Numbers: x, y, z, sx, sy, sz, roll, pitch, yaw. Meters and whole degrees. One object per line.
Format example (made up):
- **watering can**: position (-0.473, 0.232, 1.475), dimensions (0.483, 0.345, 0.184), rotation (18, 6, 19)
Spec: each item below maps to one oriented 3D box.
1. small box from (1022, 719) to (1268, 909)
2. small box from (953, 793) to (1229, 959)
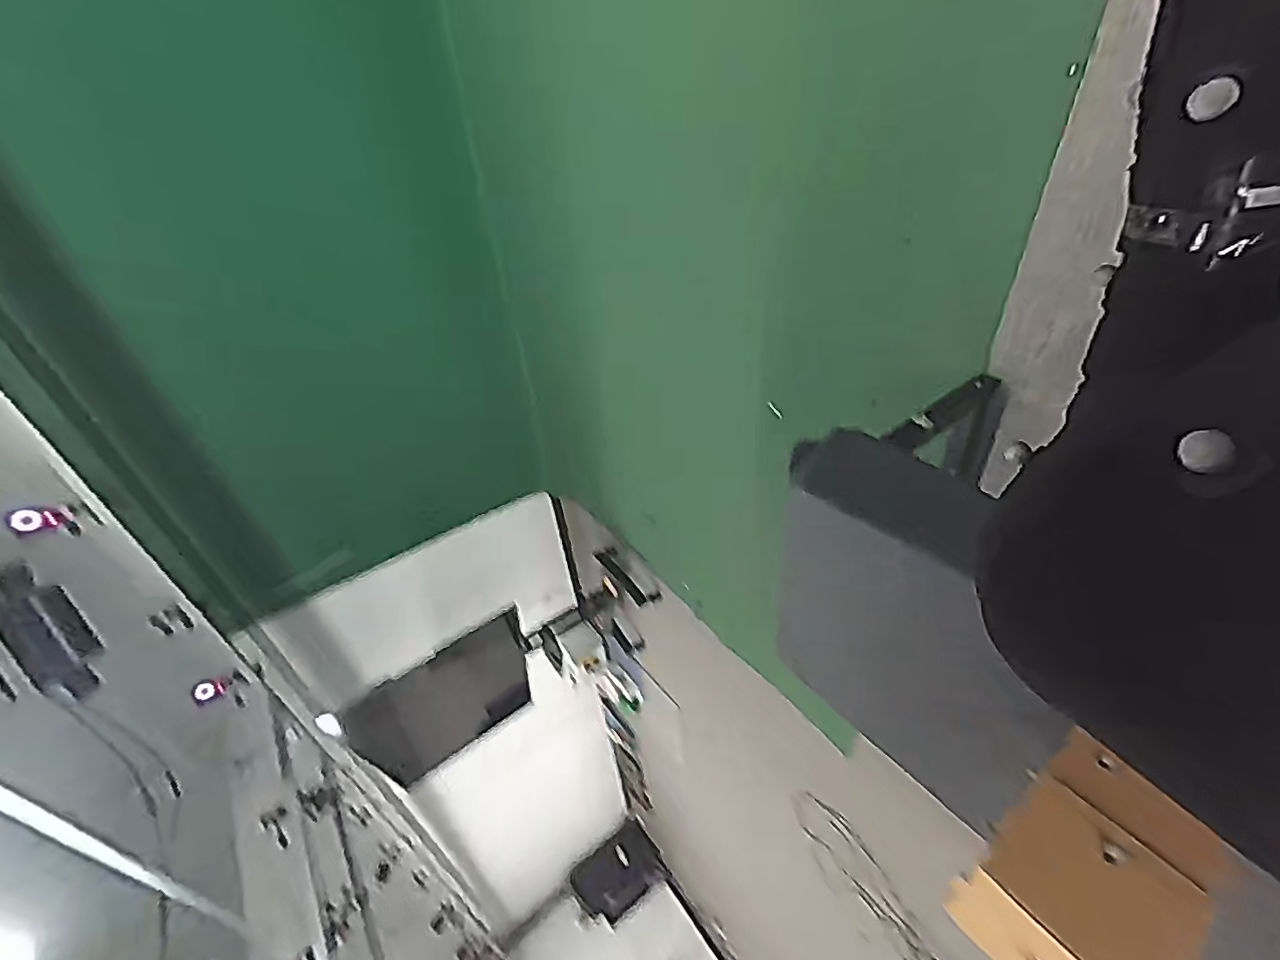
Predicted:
- **small box**: position (0.656, 0.452, 0.720), dimensions (0.179, 0.176, 0.168), rotation (33, 143, 44)
- **small box**: position (0.524, 0.516, 0.646), dimensions (0.179, 0.176, 0.168), rotation (38, 147, 43)
